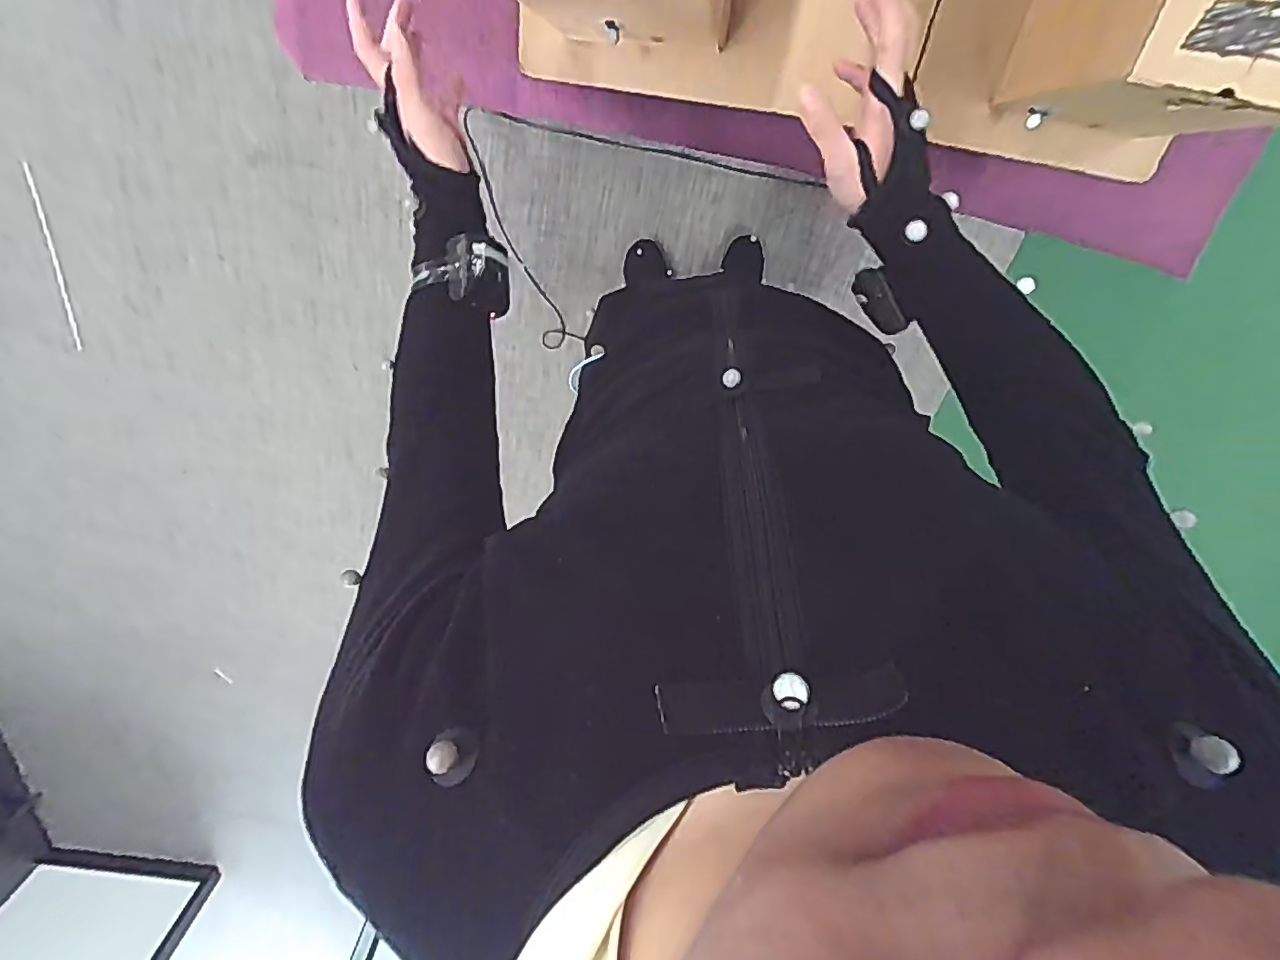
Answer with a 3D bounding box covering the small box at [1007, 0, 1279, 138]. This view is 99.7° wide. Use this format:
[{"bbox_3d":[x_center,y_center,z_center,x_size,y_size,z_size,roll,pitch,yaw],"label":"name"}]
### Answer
[{"bbox_3d":[0.445,-0.393,0.435,0.168,0.176,0.179,6,117,-7],"label":"small box"}]
